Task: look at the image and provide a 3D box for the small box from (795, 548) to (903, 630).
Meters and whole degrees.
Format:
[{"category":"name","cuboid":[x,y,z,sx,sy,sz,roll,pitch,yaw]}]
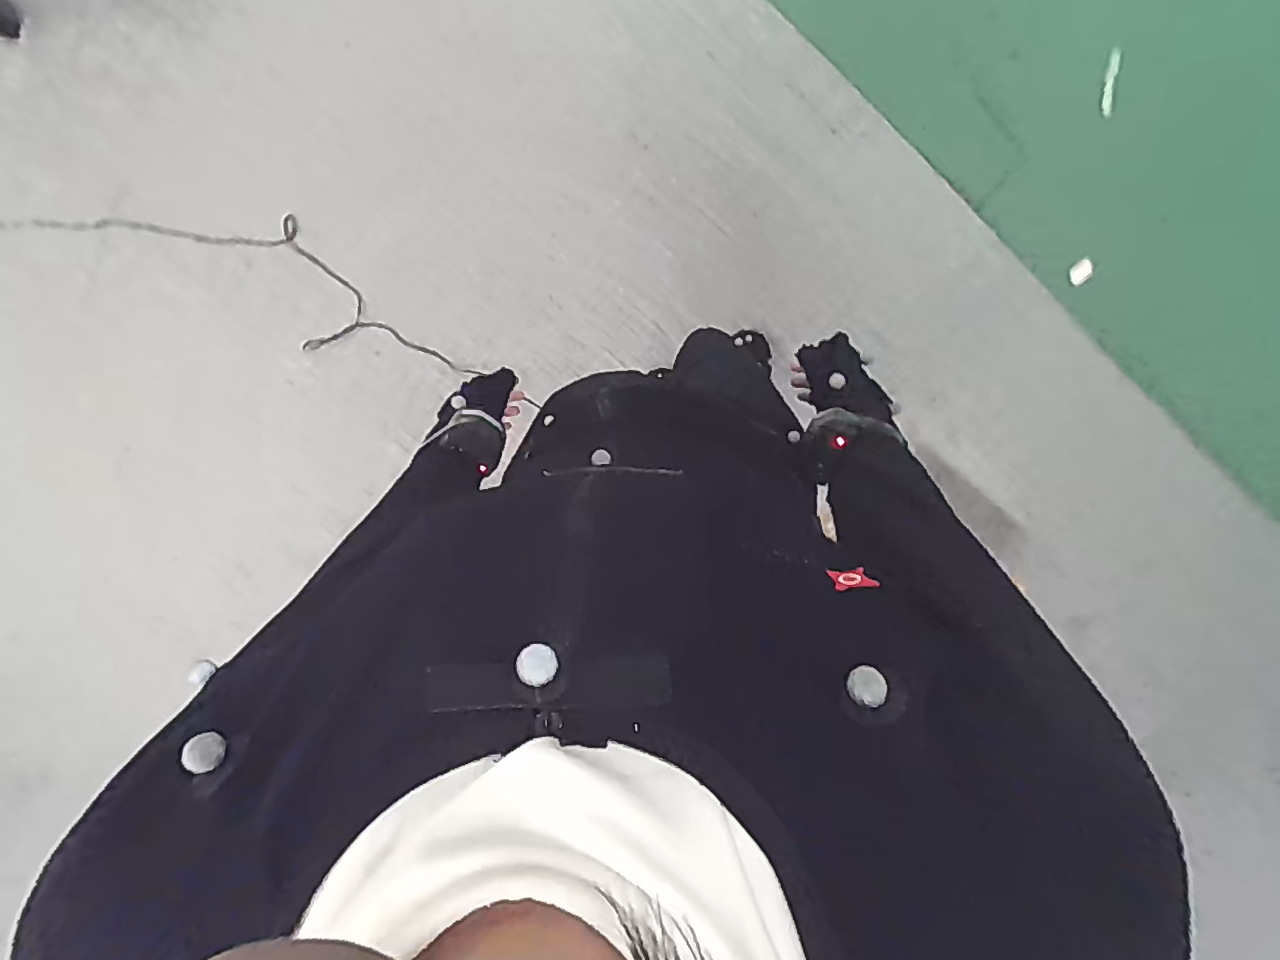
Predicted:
[{"category":"small box","cuboid":[0.513,0.304,1.362,0.168,0.176,0.179,39,102,-8]}]
